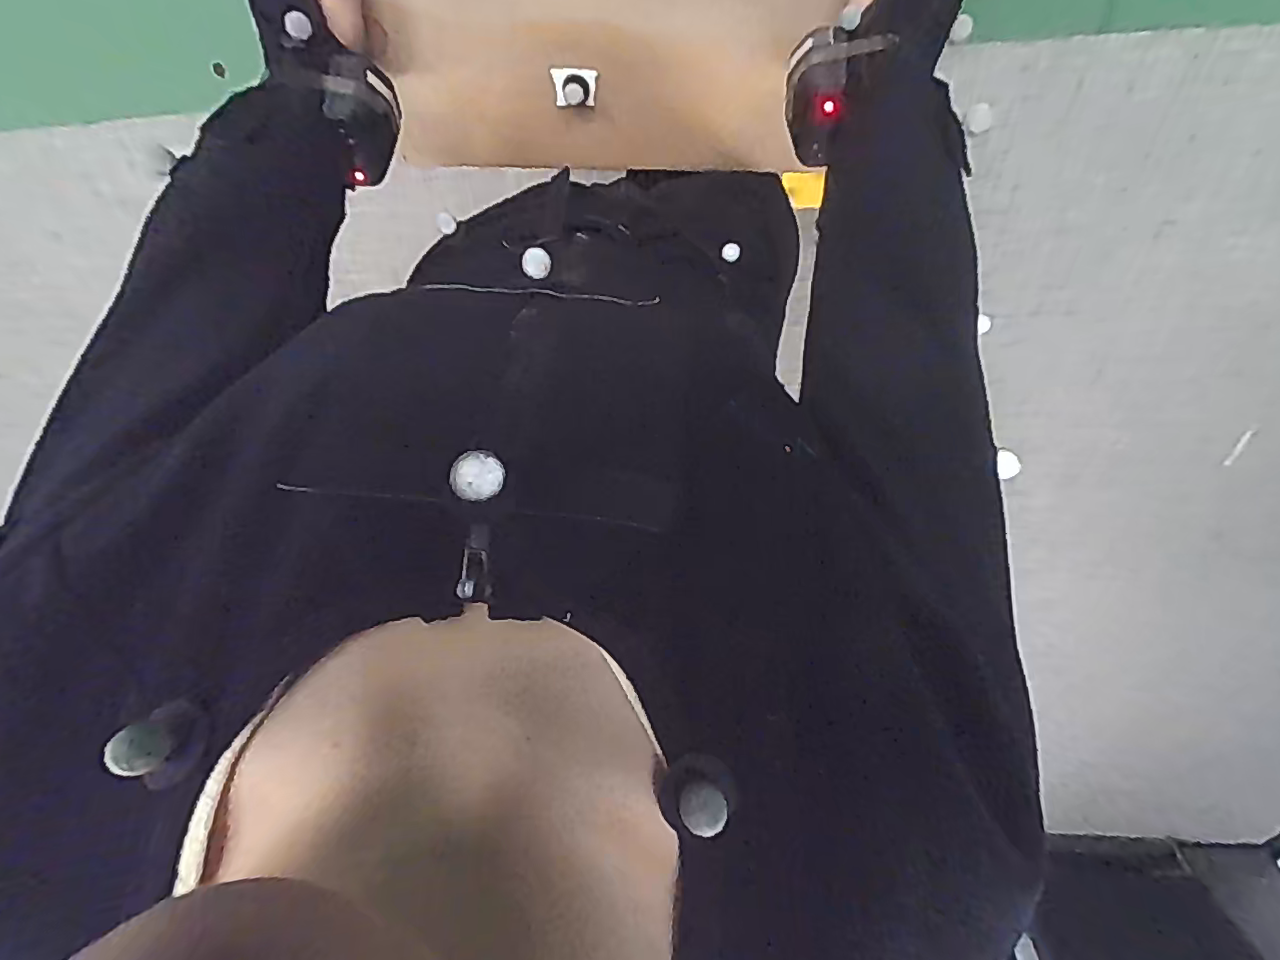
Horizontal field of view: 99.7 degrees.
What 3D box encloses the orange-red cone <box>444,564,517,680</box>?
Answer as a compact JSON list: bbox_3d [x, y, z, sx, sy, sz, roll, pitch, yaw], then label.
[{"bbox_3d":[-0.546,0.472,1.723,0.199,0.360,0.198,16,125,-5],"label":"orange-red cone"}]
